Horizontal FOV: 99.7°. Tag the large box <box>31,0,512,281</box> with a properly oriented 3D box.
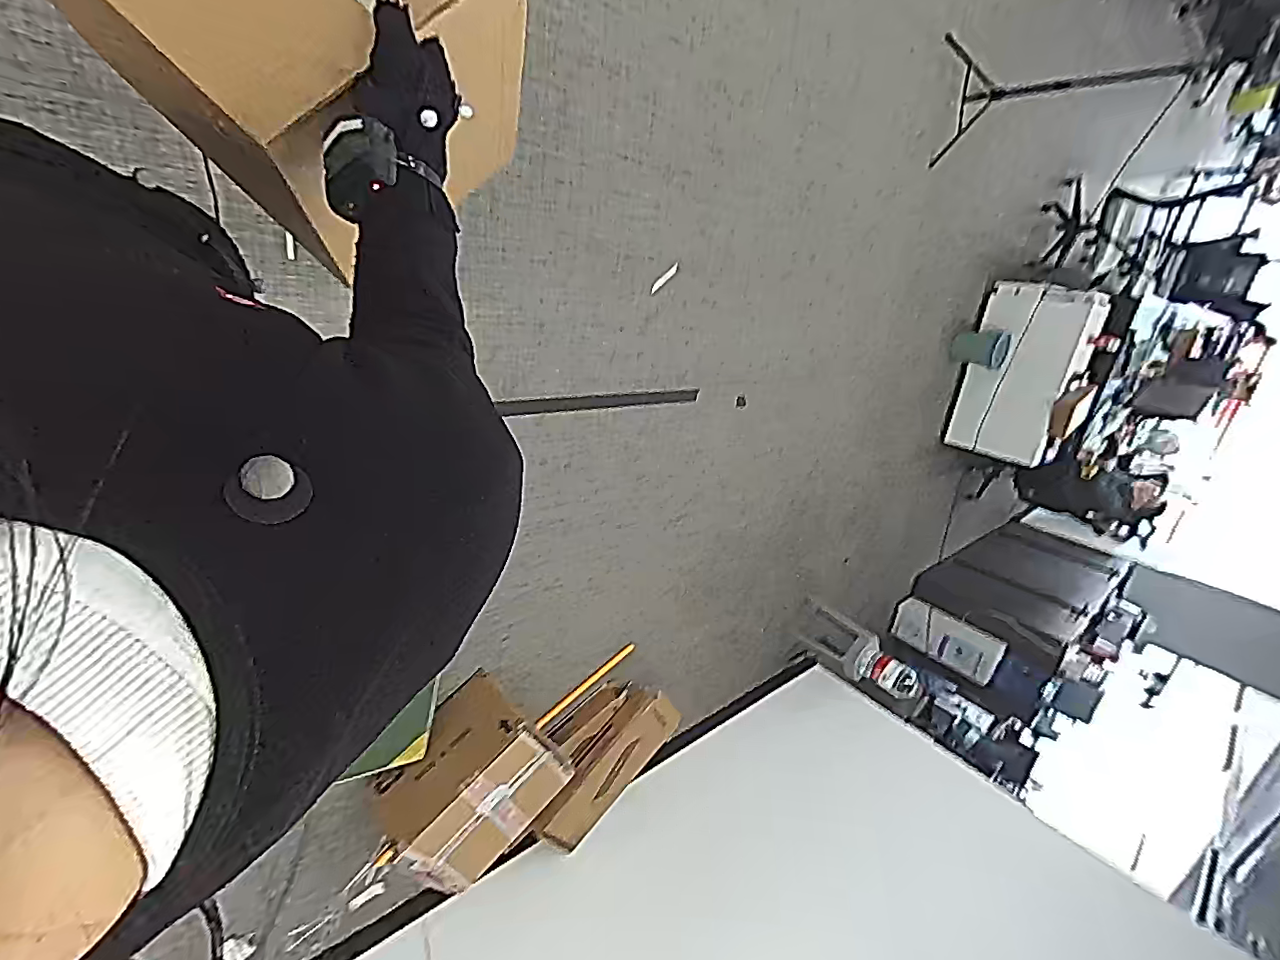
[{"bbox_3d":[-0.396,-0.504,0.570,0.408,0.320,0.320,44,79,-13],"label":"large box"}]
